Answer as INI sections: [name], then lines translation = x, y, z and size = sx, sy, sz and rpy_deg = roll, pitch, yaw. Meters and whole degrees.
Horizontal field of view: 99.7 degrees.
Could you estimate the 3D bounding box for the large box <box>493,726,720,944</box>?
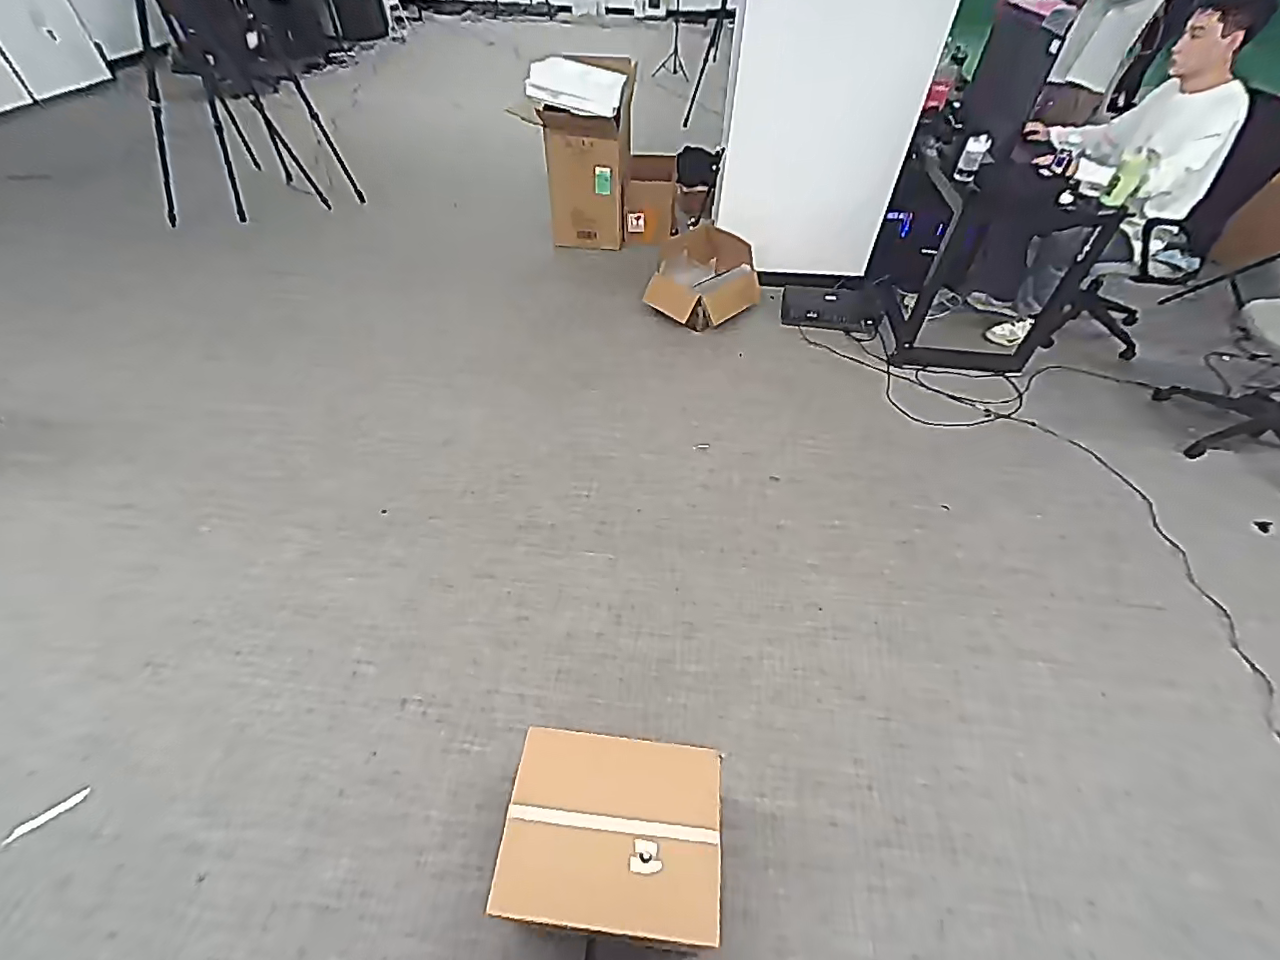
[large box]
translation = -0.054, 0.747, 1.136
size = 0.408, 0.320, 0.320
rpy_deg = 6, 48, 3
